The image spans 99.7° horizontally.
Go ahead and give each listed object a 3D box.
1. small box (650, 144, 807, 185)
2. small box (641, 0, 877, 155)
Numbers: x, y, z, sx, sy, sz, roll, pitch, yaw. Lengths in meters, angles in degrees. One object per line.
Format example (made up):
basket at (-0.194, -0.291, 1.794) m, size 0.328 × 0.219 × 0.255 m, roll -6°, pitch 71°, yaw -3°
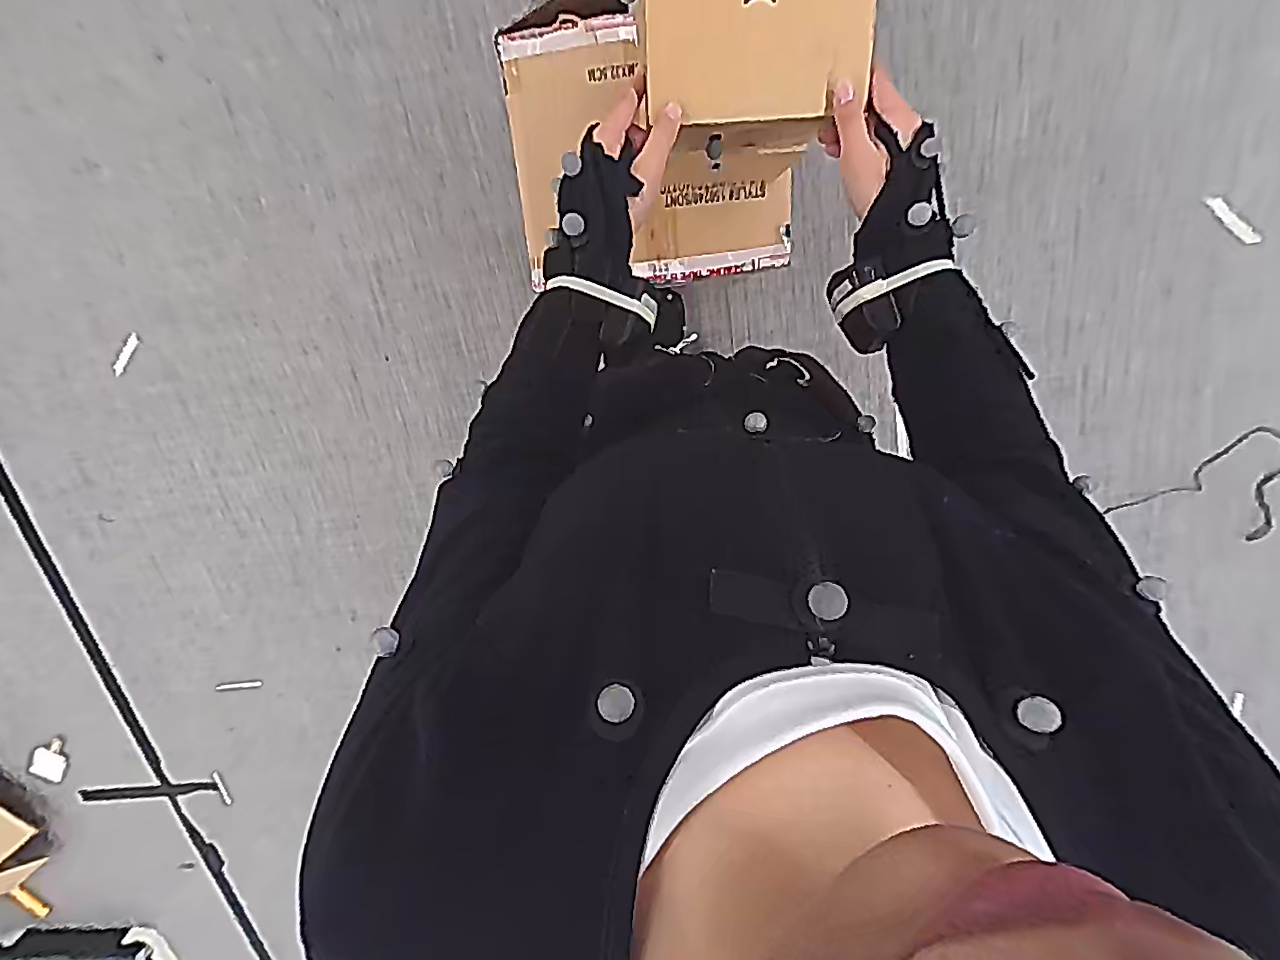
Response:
small box at (0.100, -0.465, 0.655) m, size 0.179 × 0.176 × 0.168 m, roll -2°, pitch 110°, yaw 2°
small box at (0.085, -0.380, 0.448) m, size 0.168 × 0.176 × 0.179 m, roll -3°, pitch 113°, yaw 1°
